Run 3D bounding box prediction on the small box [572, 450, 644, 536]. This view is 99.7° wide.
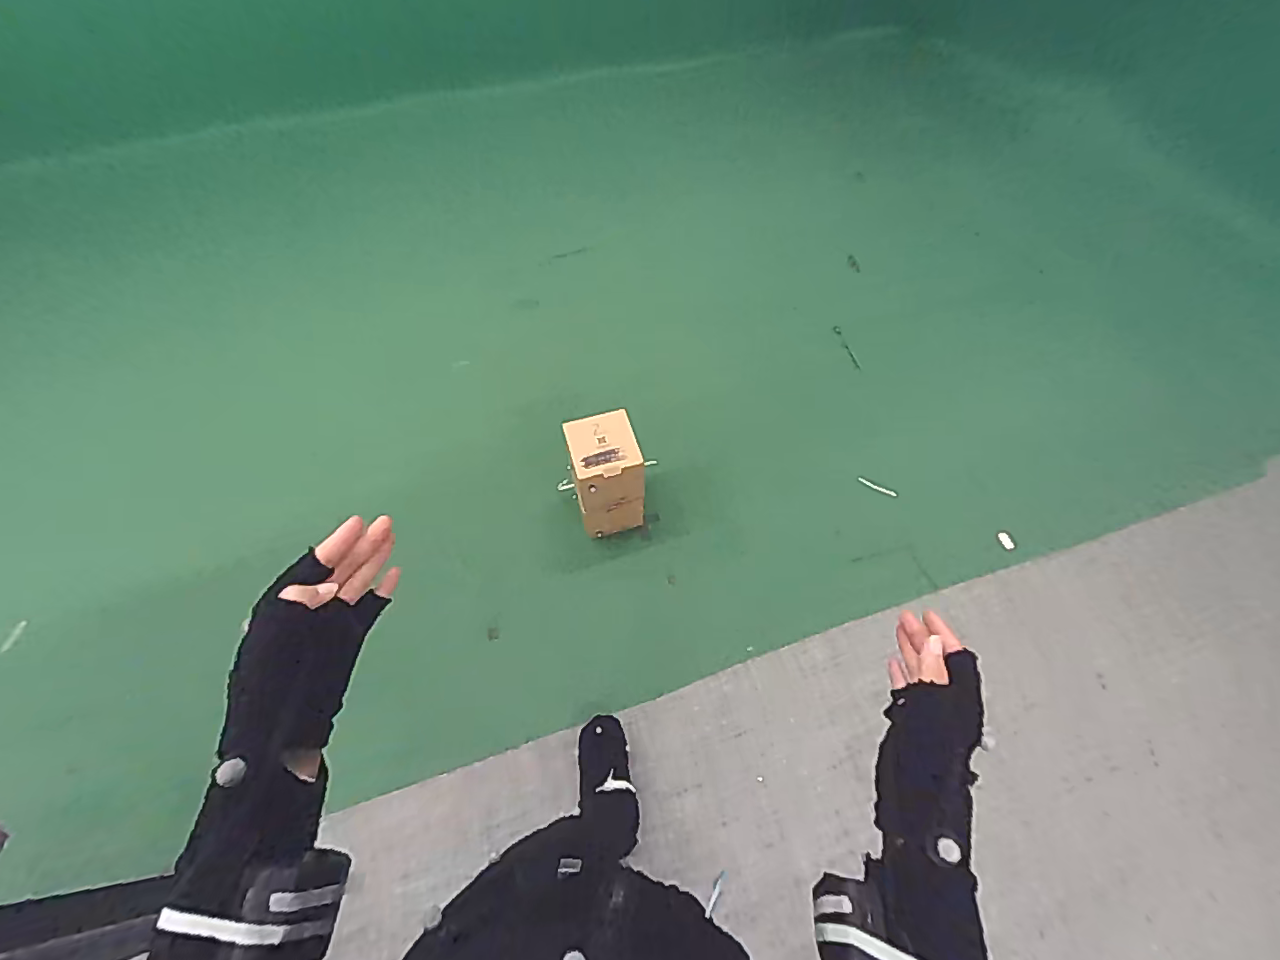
[{"bbox_3d":[-0.087,0.045,1.534,0.168,0.176,0.179,-14,60,-8],"label":"small box"}]
